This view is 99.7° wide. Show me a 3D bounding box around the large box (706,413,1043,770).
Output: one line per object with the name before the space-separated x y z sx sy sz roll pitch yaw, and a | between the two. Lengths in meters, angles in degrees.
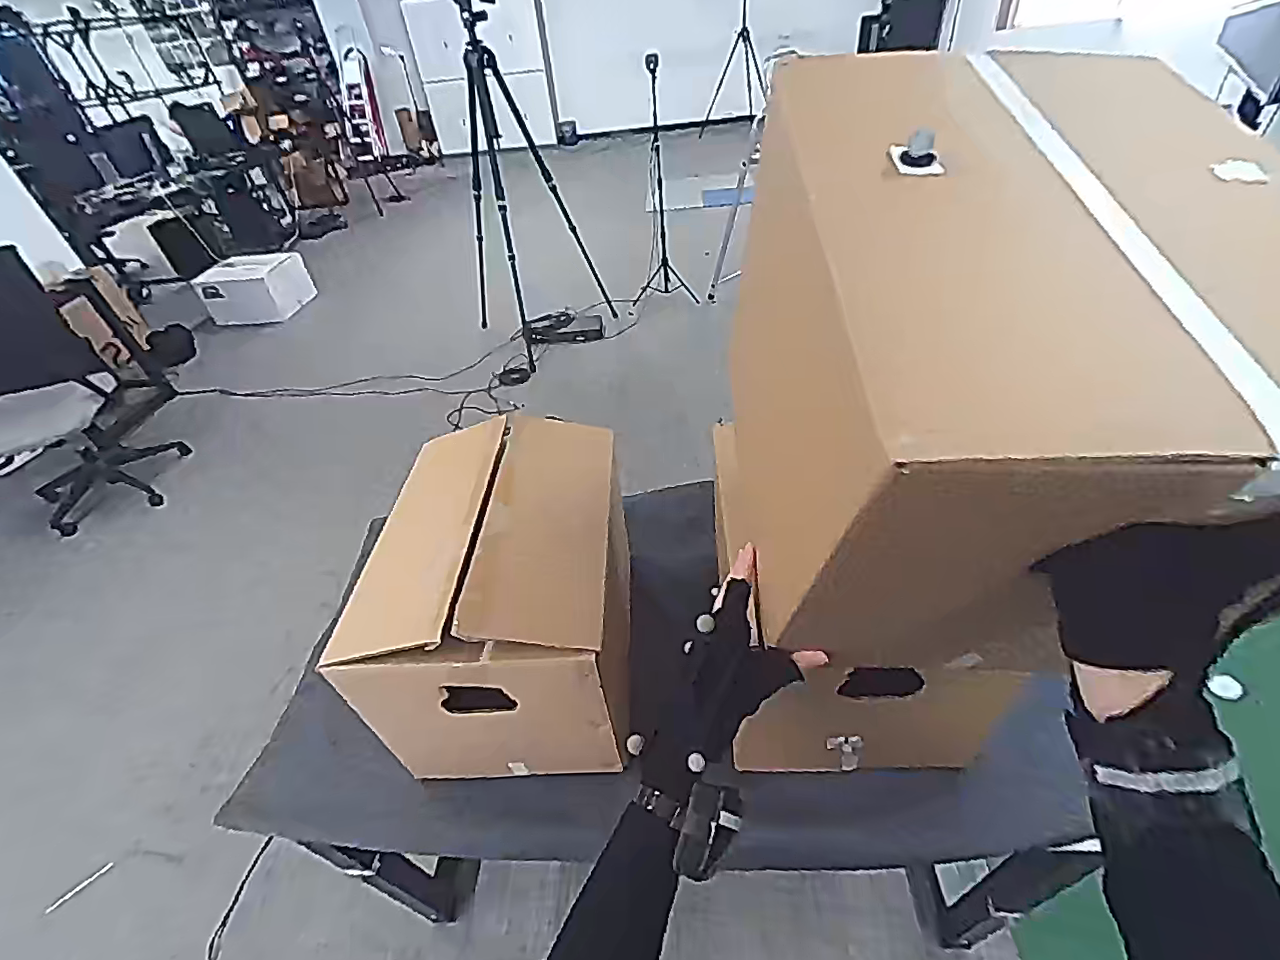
large box | 0.272 0.150 0.789 0.320 0.320 0.408 -4 40 6
